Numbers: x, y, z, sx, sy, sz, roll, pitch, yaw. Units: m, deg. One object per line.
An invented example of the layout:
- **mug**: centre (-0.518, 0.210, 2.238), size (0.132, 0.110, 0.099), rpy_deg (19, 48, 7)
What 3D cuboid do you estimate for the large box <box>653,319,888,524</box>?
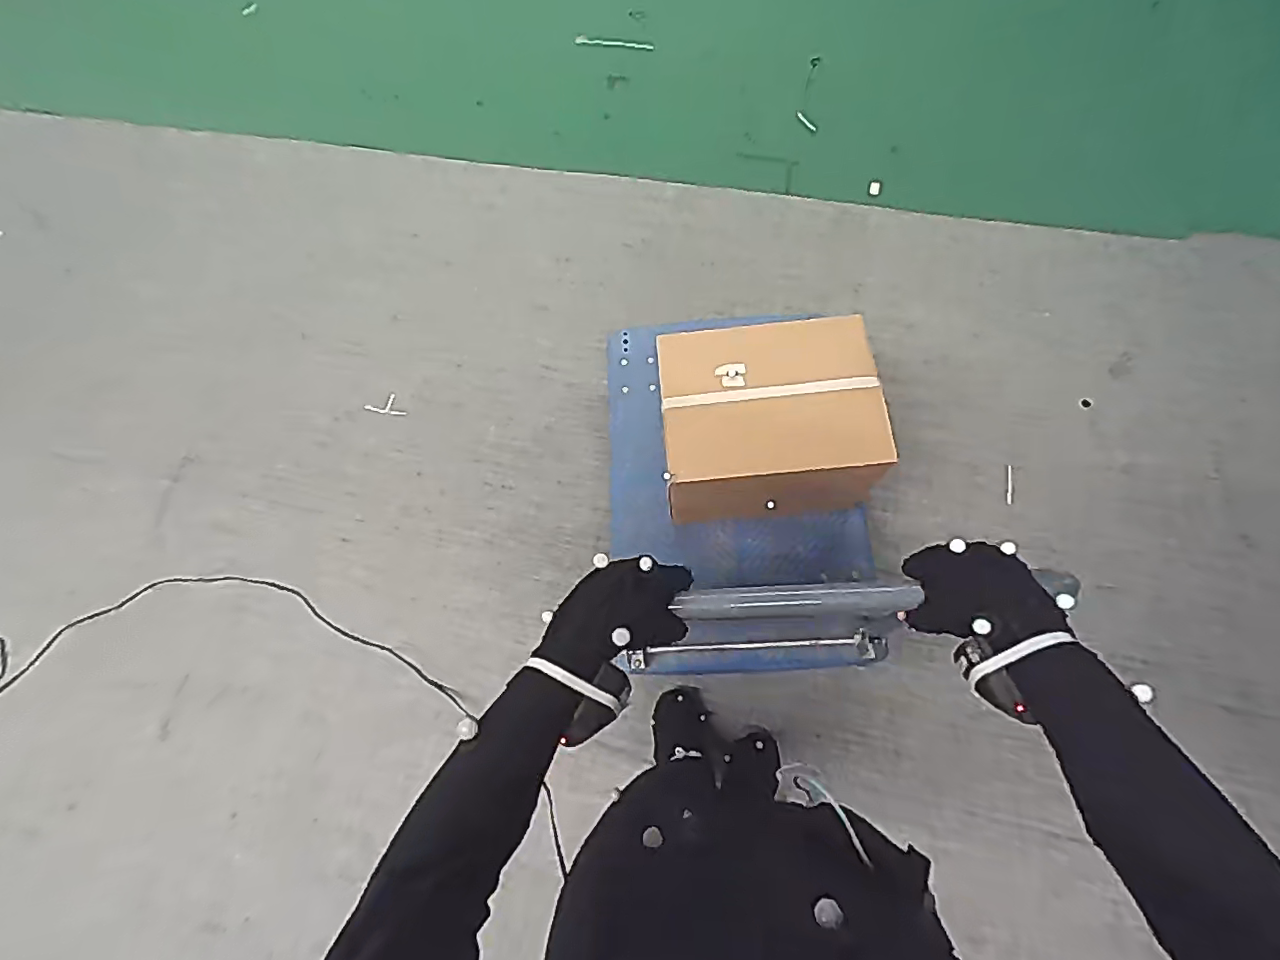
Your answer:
- **large box**: centre (0.252, -0.104, 1.166), size (0.408, 0.320, 0.320), rpy_deg (-6, 70, 4)
